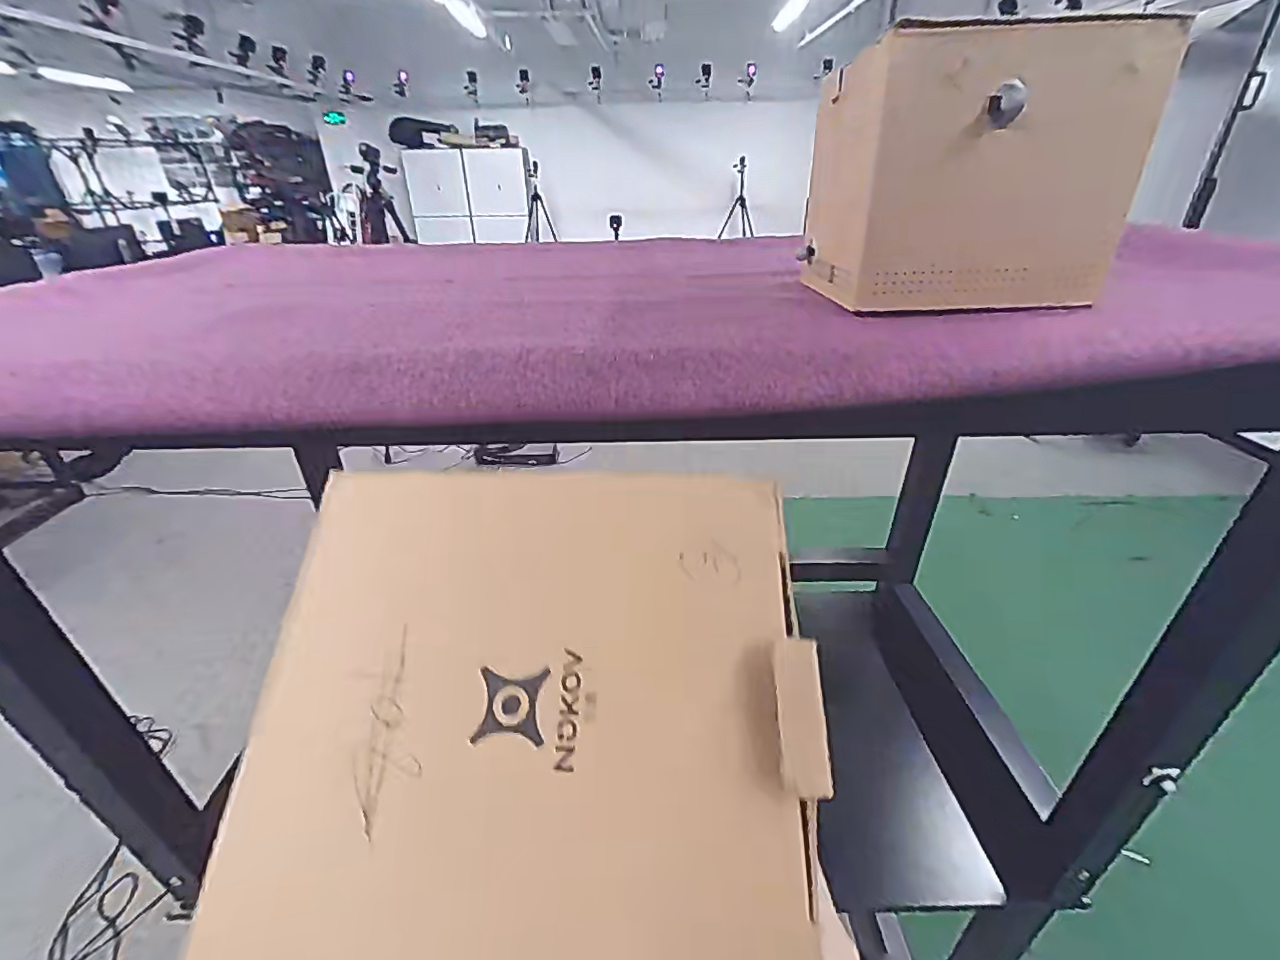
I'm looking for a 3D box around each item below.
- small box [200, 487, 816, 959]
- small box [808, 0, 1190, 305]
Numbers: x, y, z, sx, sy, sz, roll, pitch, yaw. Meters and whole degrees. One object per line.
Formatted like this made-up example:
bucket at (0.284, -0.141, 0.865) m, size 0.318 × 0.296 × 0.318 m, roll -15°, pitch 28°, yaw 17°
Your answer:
small box at (-0.032, 0.112, 0.249) m, size 0.179 × 0.176 × 0.168 m, roll 0°, pitch 64°, yaw 4°
small box at (0.237, -0.235, 0.419) m, size 0.179 × 0.176 × 0.168 m, roll -1°, pitch 29°, yaw 2°
